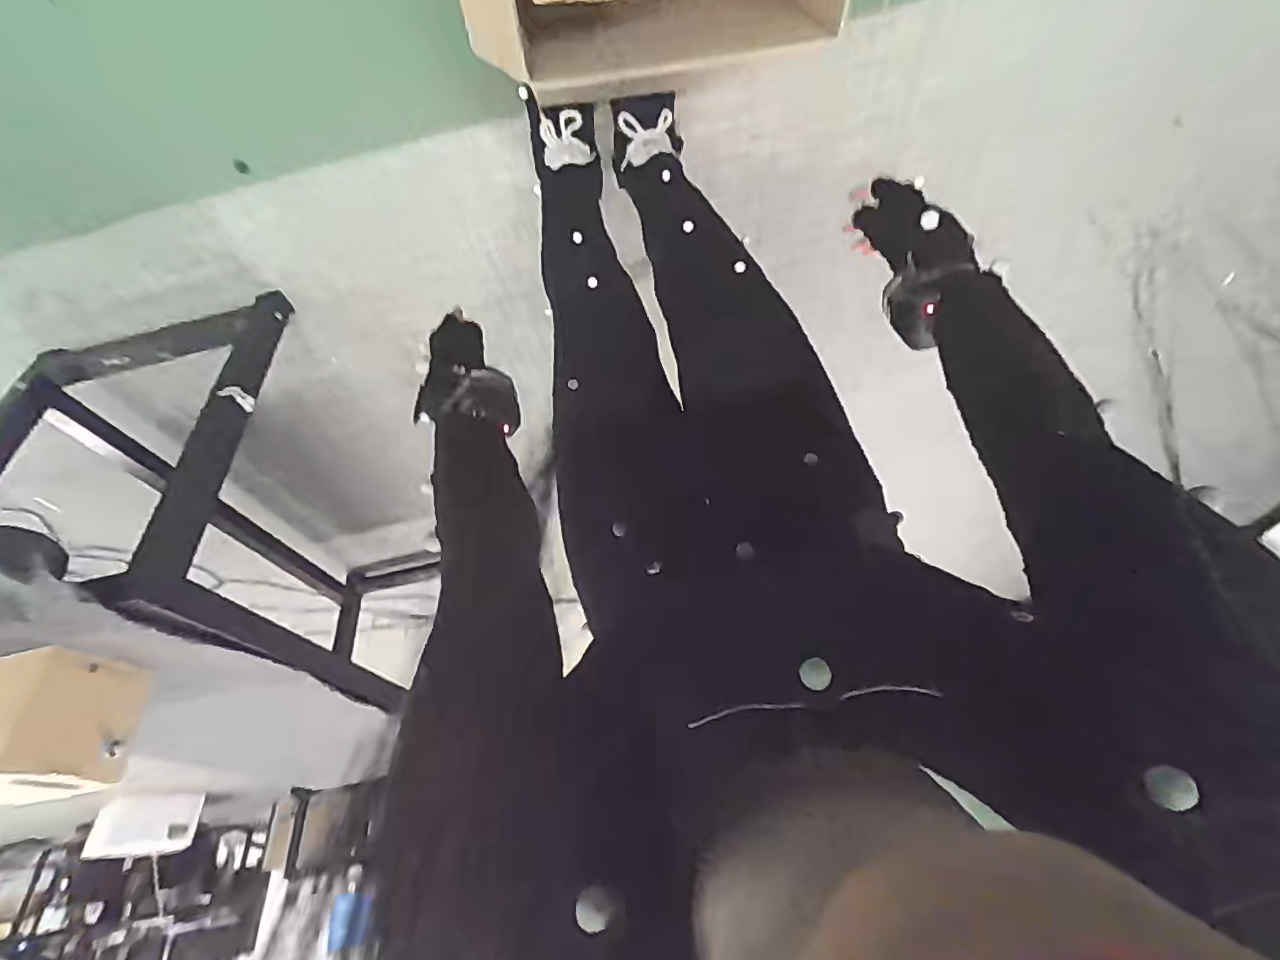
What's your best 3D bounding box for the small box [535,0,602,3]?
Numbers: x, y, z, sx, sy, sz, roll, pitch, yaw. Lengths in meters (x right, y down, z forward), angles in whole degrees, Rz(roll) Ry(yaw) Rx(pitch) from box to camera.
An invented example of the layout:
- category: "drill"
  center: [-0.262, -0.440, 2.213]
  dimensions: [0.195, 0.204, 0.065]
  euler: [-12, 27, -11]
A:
- category: "small box"
  center: [-0.049, -0.646, 0.578]
  dimensions: [0.168, 0.176, 0.179]
  euler: [-5, 143, -3]
